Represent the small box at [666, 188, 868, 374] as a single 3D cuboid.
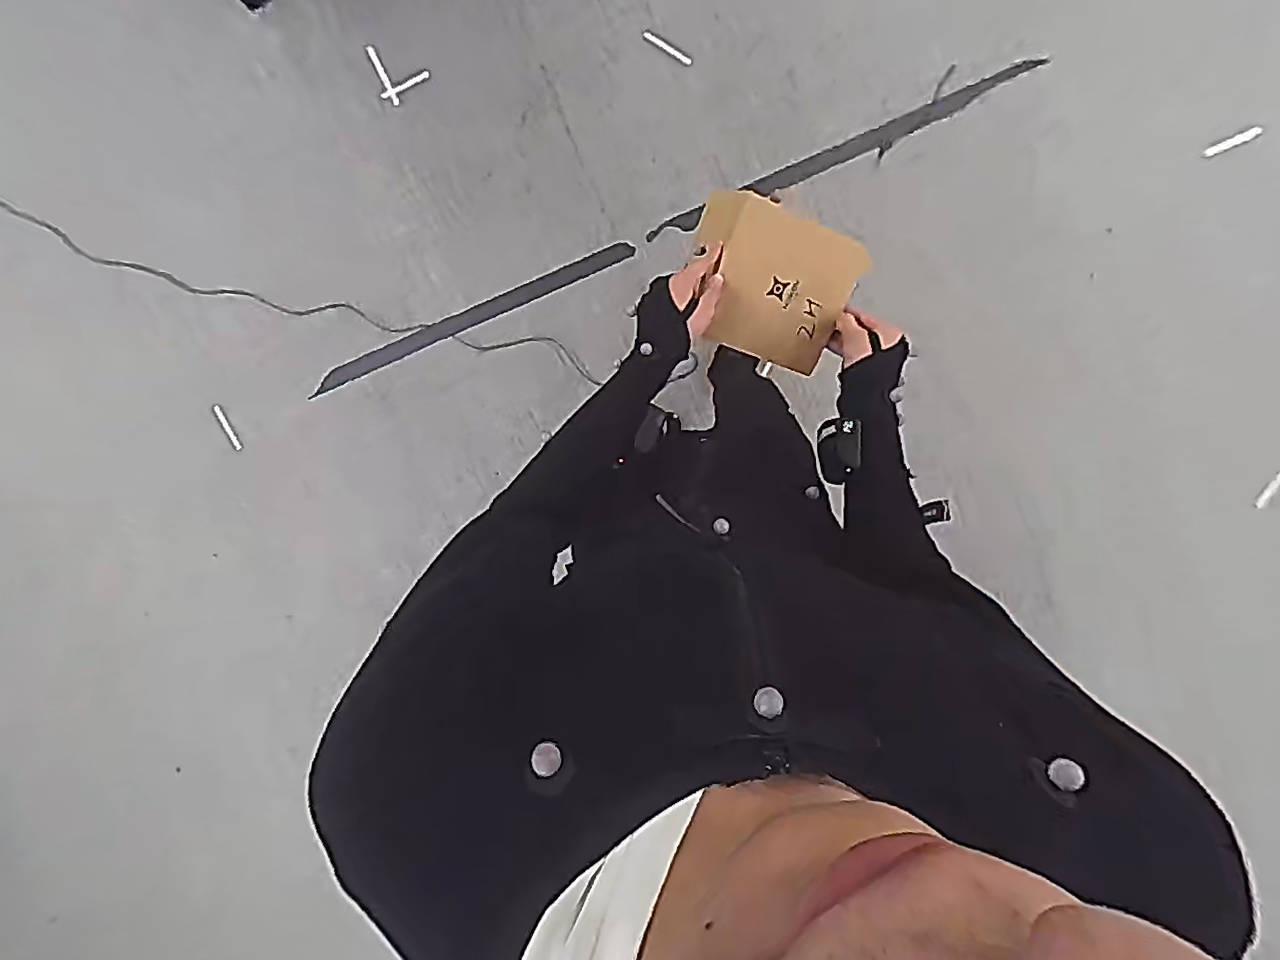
[{"bbox_3d":[0.149,-0.261,0.708,0.179,0.176,0.168,15,114,-16],"label":"small box"}]
